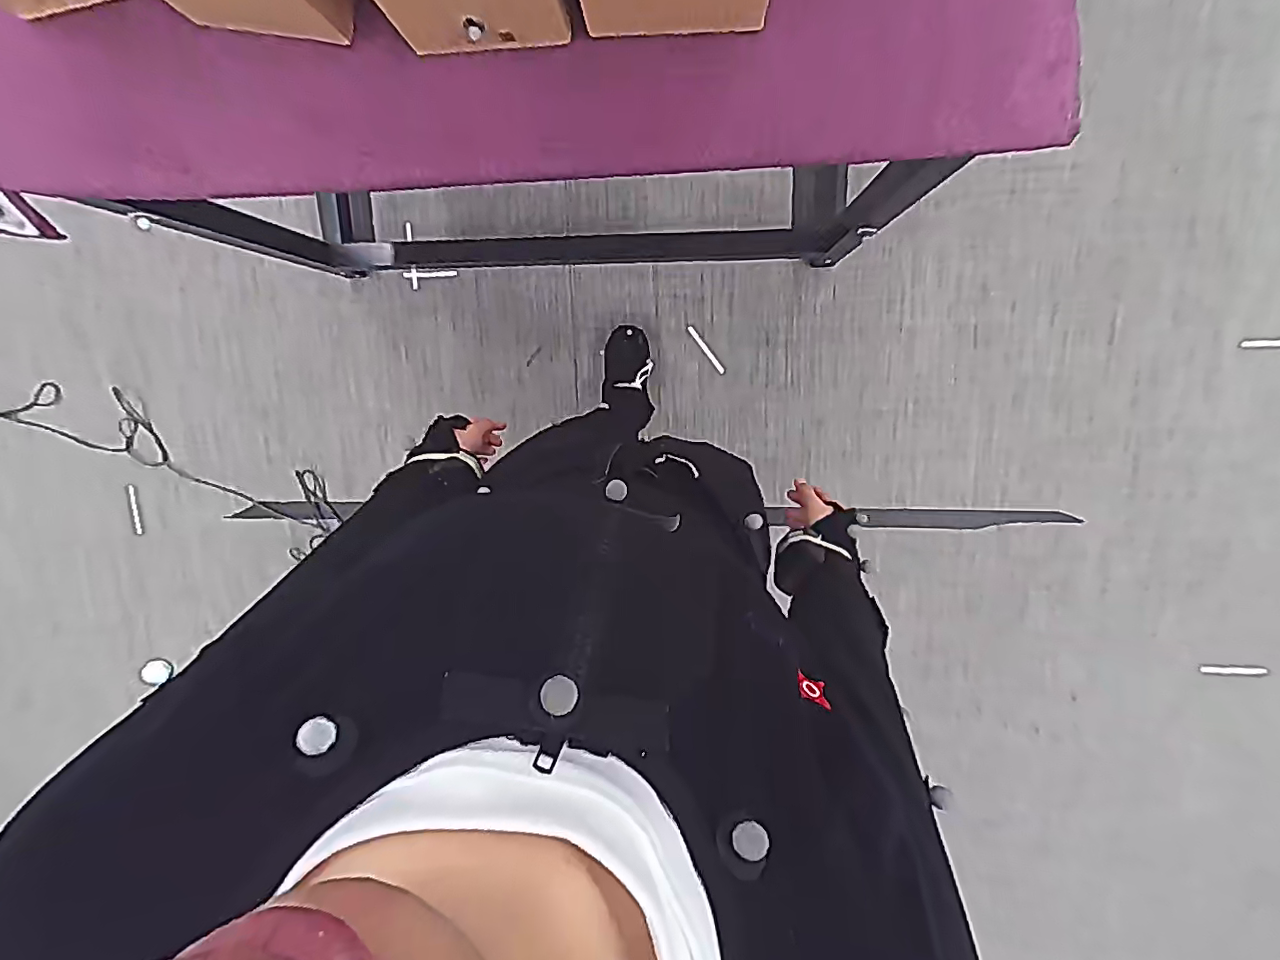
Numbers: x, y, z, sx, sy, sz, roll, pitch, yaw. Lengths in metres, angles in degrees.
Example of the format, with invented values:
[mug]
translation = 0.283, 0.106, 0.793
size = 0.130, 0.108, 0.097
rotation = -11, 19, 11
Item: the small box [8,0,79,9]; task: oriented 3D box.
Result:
[small box]
translation = -0.608, -0.578, 0.490
size = 0.168, 0.176, 0.179
rotation = -8, 101, 6
